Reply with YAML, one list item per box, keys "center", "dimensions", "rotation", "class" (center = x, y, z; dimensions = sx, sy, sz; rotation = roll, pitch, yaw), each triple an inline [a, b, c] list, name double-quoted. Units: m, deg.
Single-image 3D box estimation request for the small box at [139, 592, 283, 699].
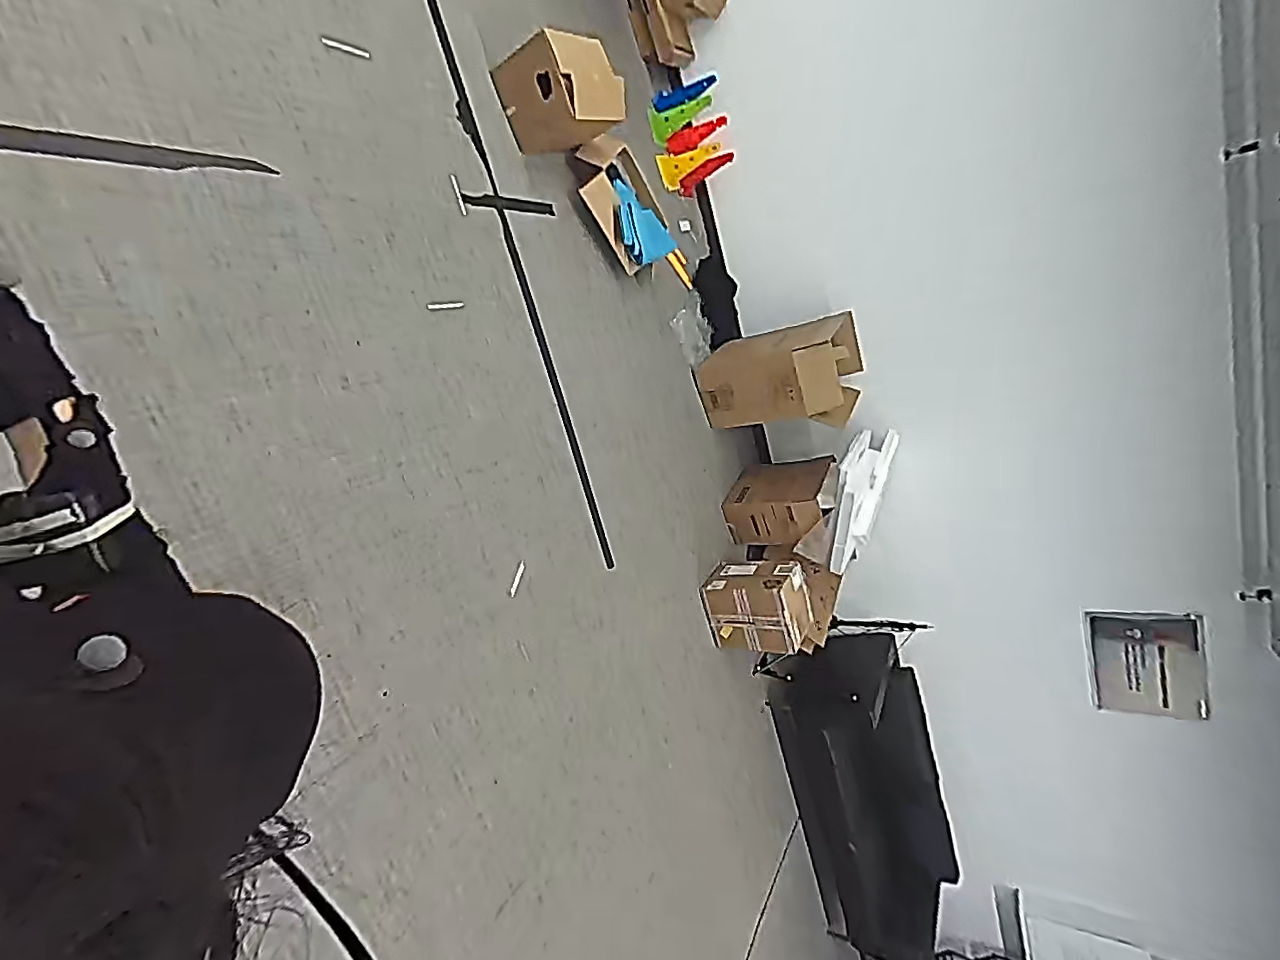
- center: [-0.949, 0.361, 1.193]
  dimensions: [0.168, 0.176, 0.179]
  rotation: [49, 46, -41]
  class: "small box"
